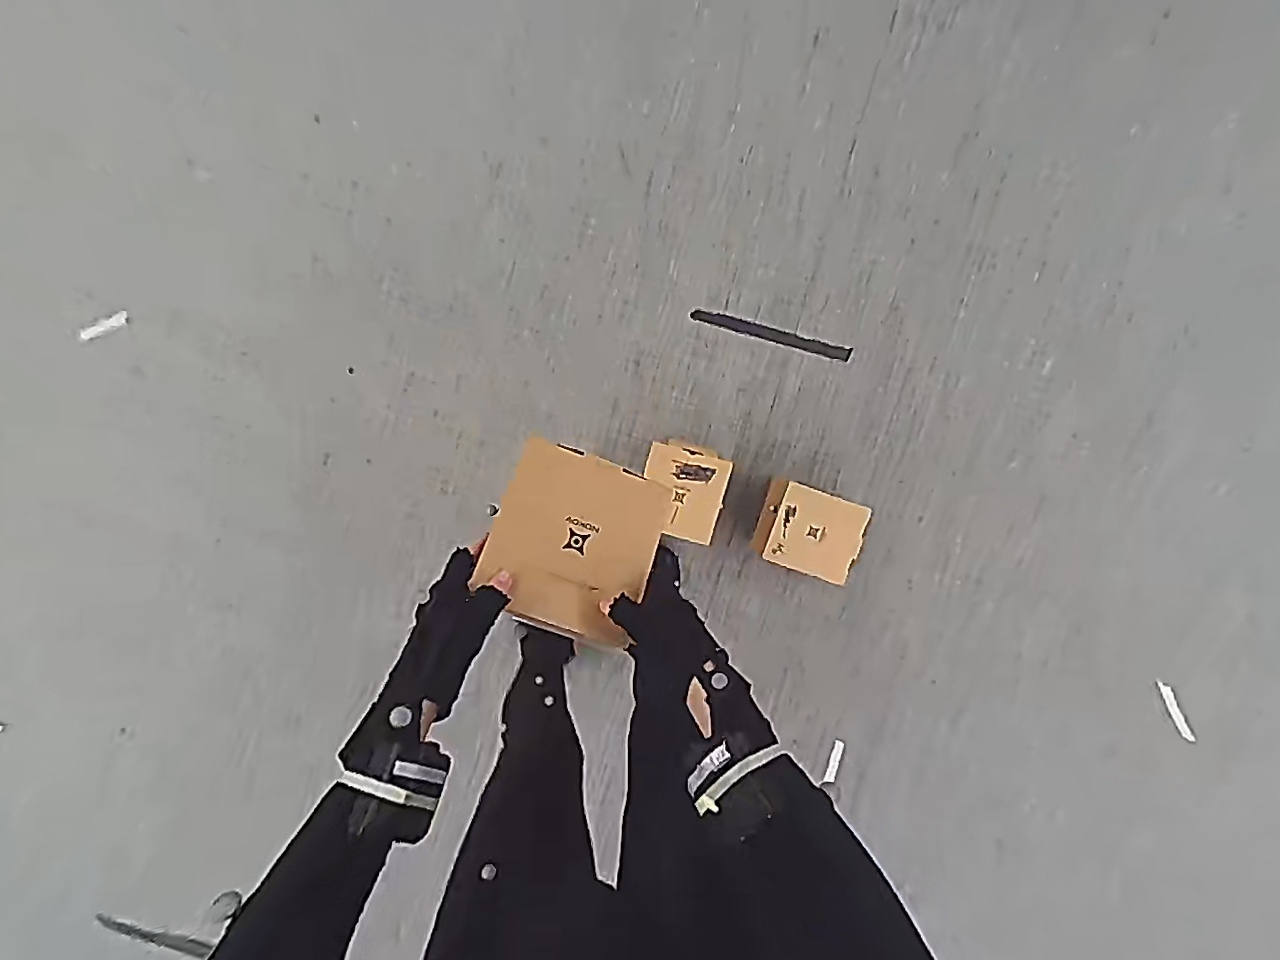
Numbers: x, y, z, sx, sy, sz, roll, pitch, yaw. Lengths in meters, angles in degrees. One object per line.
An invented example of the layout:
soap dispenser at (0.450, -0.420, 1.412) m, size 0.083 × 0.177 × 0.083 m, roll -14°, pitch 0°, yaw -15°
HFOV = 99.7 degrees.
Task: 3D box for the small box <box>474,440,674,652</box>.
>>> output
small box at (-0.083, 0.084, 0.619) m, size 0.168 × 0.176 × 0.179 m, roll 21°, pitch 70°, yaw -11°

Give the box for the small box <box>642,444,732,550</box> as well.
small box at (0.081, 0.029, 1.143) m, size 0.168 × 0.176 × 0.179 m, roll 16°, pitch 94°, yaw 1°

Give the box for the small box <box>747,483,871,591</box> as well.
small box at (0.346, 0.110, 1.141) m, size 0.179 × 0.176 × 0.168 m, roll 20°, pitch 94°, yaw 0°
